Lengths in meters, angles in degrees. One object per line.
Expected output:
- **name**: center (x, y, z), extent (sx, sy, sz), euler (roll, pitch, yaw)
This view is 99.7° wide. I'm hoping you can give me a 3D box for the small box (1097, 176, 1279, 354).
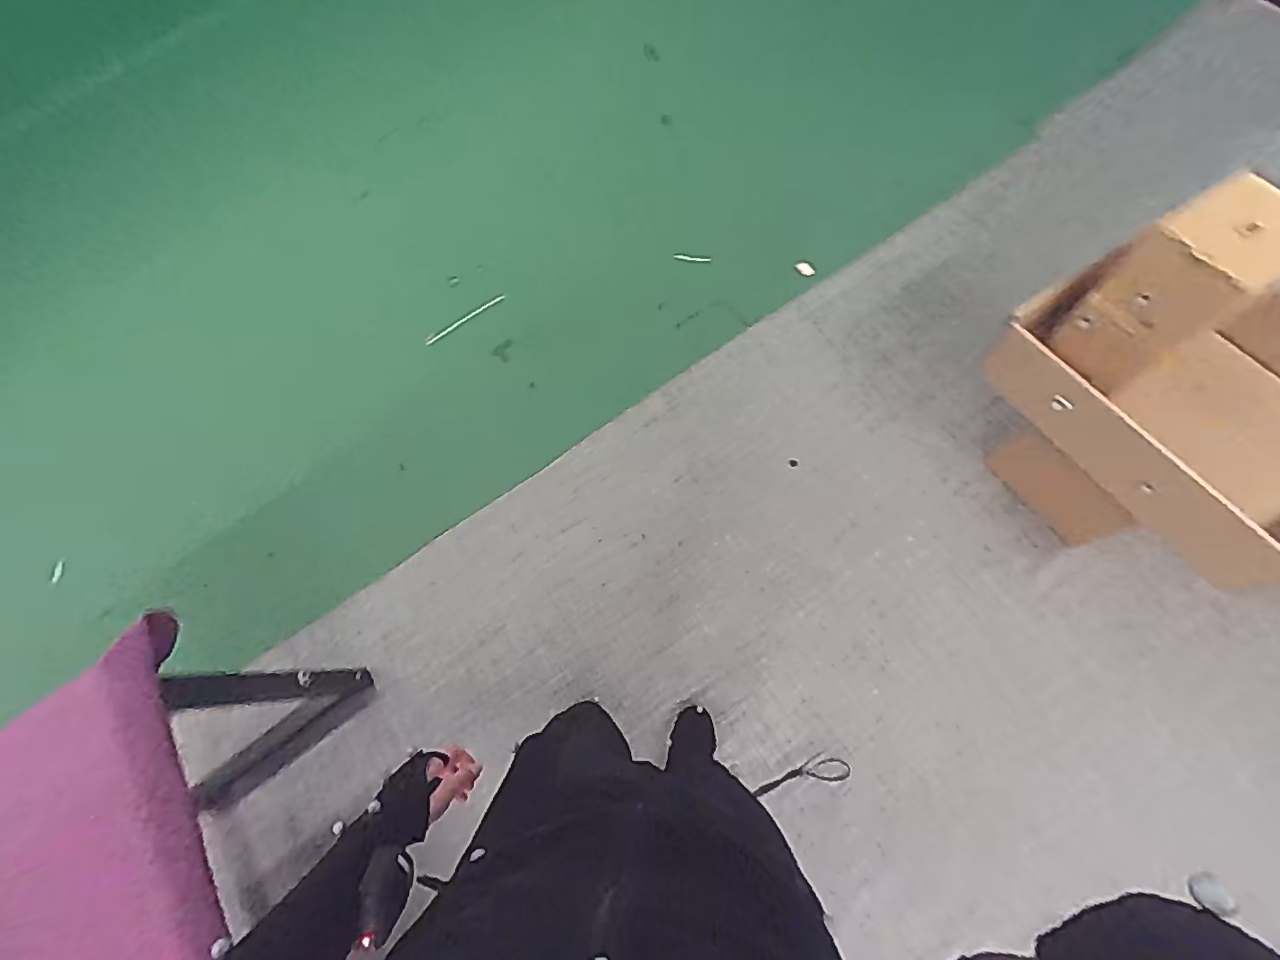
- **small box**: center (0.927, -0.346, 0.892), extent (0.179, 0.176, 0.168), euler (-32, 69, -3)
